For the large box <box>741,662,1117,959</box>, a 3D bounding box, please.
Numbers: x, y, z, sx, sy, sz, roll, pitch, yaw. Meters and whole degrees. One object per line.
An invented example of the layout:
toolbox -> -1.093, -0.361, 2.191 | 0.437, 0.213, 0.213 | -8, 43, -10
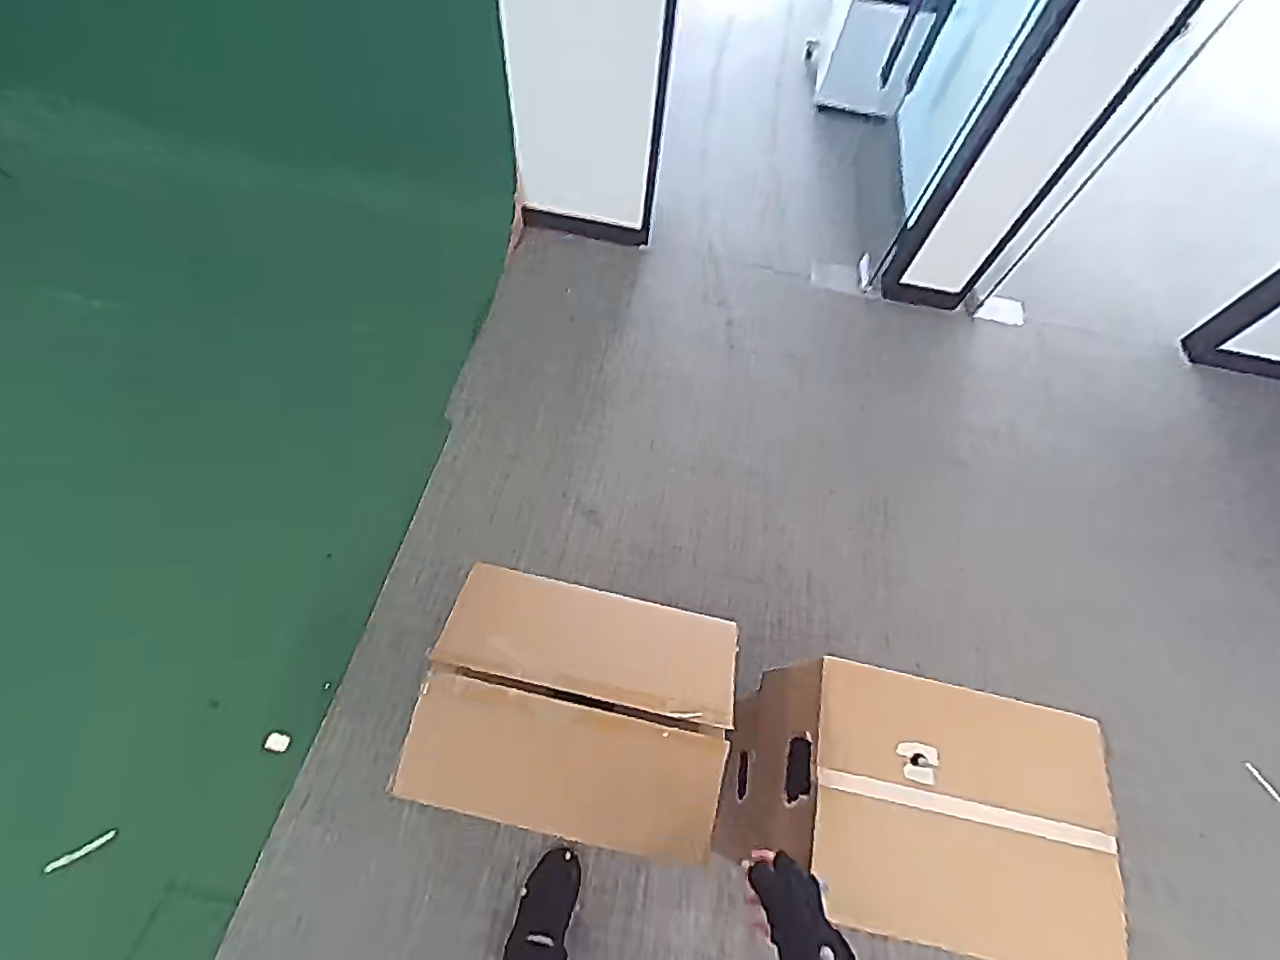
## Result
large box -> 0.404, 0.495, 0.846 | 0.408, 0.320, 0.320 | 13, 66, 2
